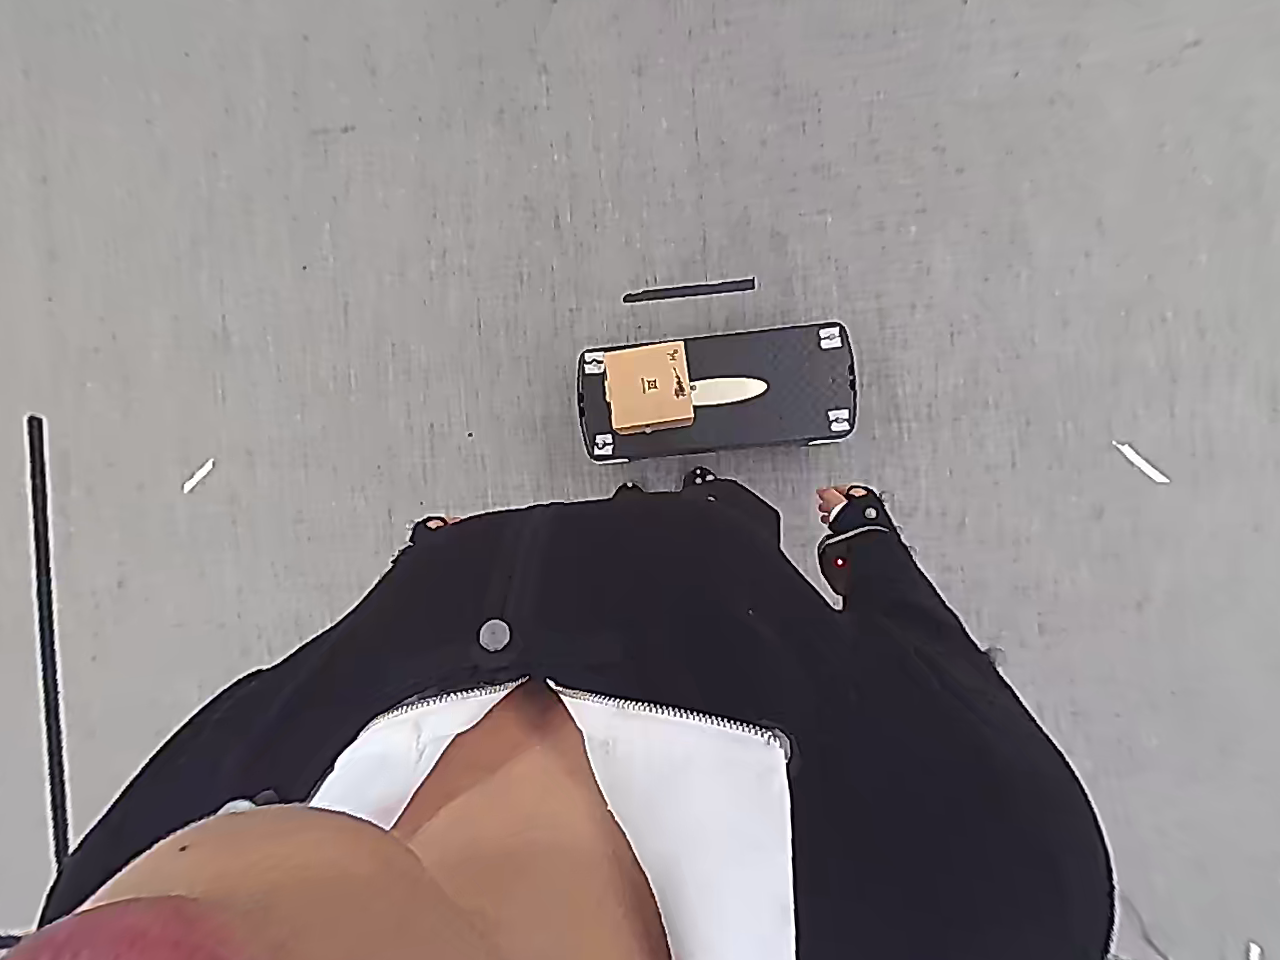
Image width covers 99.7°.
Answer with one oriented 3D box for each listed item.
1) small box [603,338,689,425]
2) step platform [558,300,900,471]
[{"bbox_3d":[0.018,-0.210,1.227,0.179,0.176,0.168,-8,90,5],"label":"small box"},{"bbox_3d":[0.176,-0.189,1.179,0.684,0.204,0.286,-5,90,4],"label":"step platform"}]
